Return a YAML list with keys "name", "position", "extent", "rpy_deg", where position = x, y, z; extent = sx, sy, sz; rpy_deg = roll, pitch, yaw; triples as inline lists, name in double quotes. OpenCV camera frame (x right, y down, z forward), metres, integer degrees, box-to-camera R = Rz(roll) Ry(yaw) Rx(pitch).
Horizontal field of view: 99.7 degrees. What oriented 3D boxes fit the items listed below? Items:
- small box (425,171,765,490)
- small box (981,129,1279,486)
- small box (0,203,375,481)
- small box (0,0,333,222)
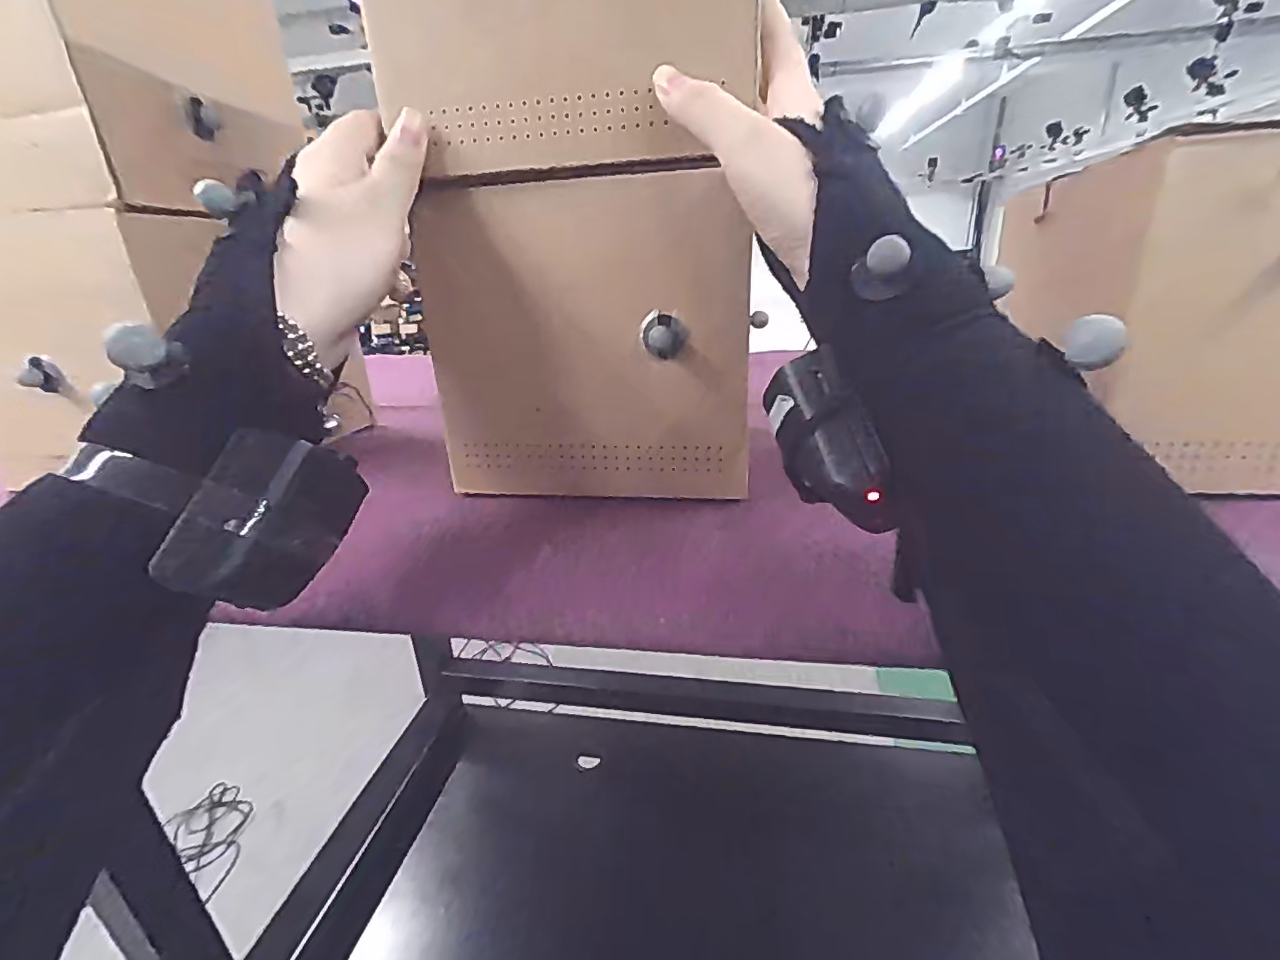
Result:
- name: "small box"
  position: [-0.013, -0.096, 0.368]
  extent: [0.179, 0.176, 0.168]
  rpy_deg: [0, 19, 9]
- name: "small box"
  position: [0.334, -0.097, 0.329]
  extent: [0.179, 0.176, 0.168]
  rpy_deg: [2, 19, 11]
- name: "small box"
  position: [-0.331, -0.105, 0.409]
  extent: [0.168, 0.176, 0.179]
  rpy_deg: [2, 22, 8]
- name: "small box"
  position: [-0.341, -0.256, 0.349]
  extent: [0.179, 0.176, 0.168]
  rpy_deg: [1, 22, 6]
